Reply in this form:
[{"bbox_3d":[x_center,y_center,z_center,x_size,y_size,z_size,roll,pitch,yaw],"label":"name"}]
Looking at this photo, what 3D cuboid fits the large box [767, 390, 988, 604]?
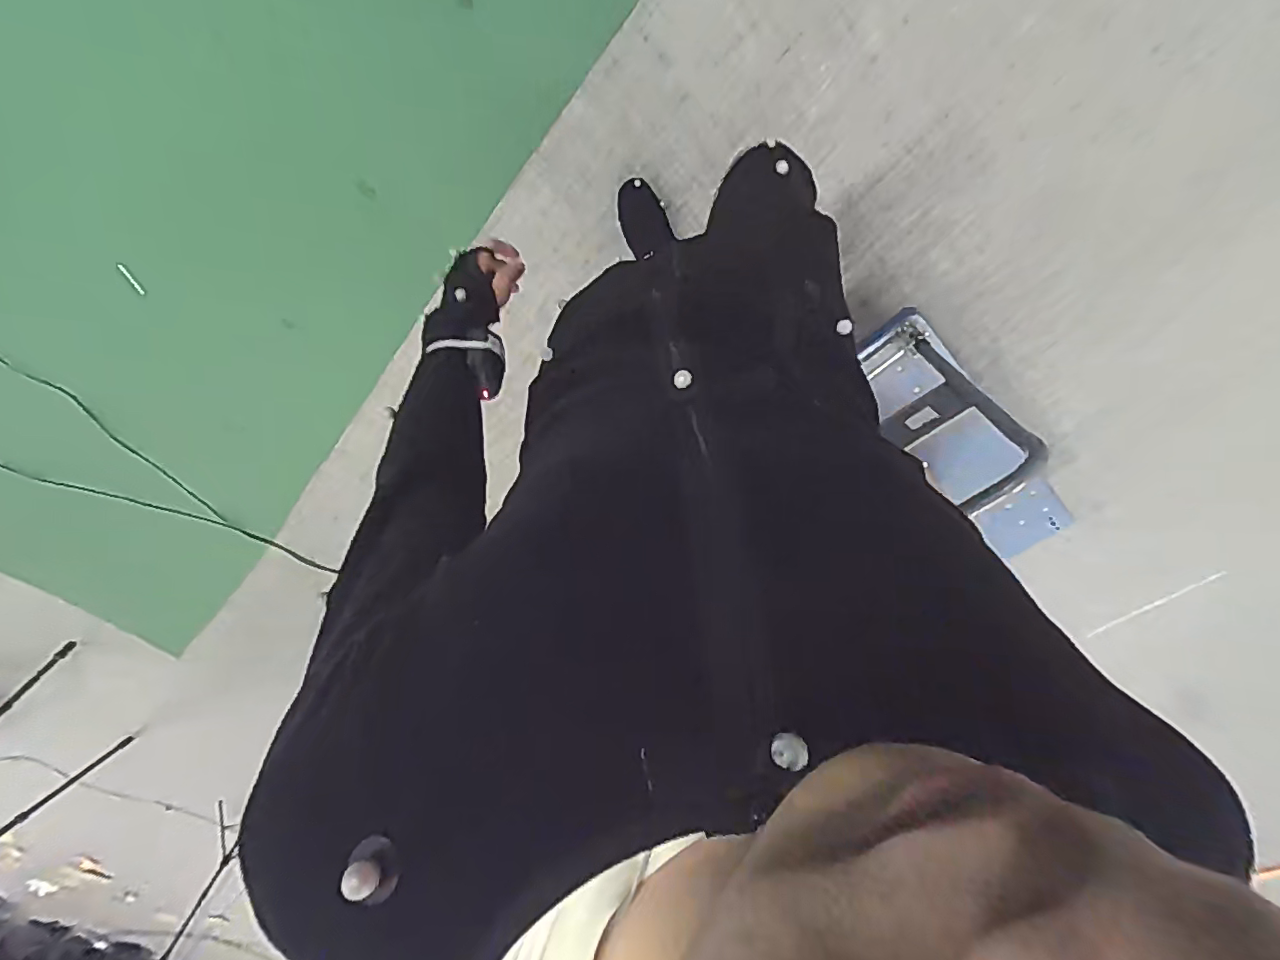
[{"bbox_3d":[0.597,0.042,1.421,0.408,0.320,0.320,39,118,-20],"label":"large box"}]
